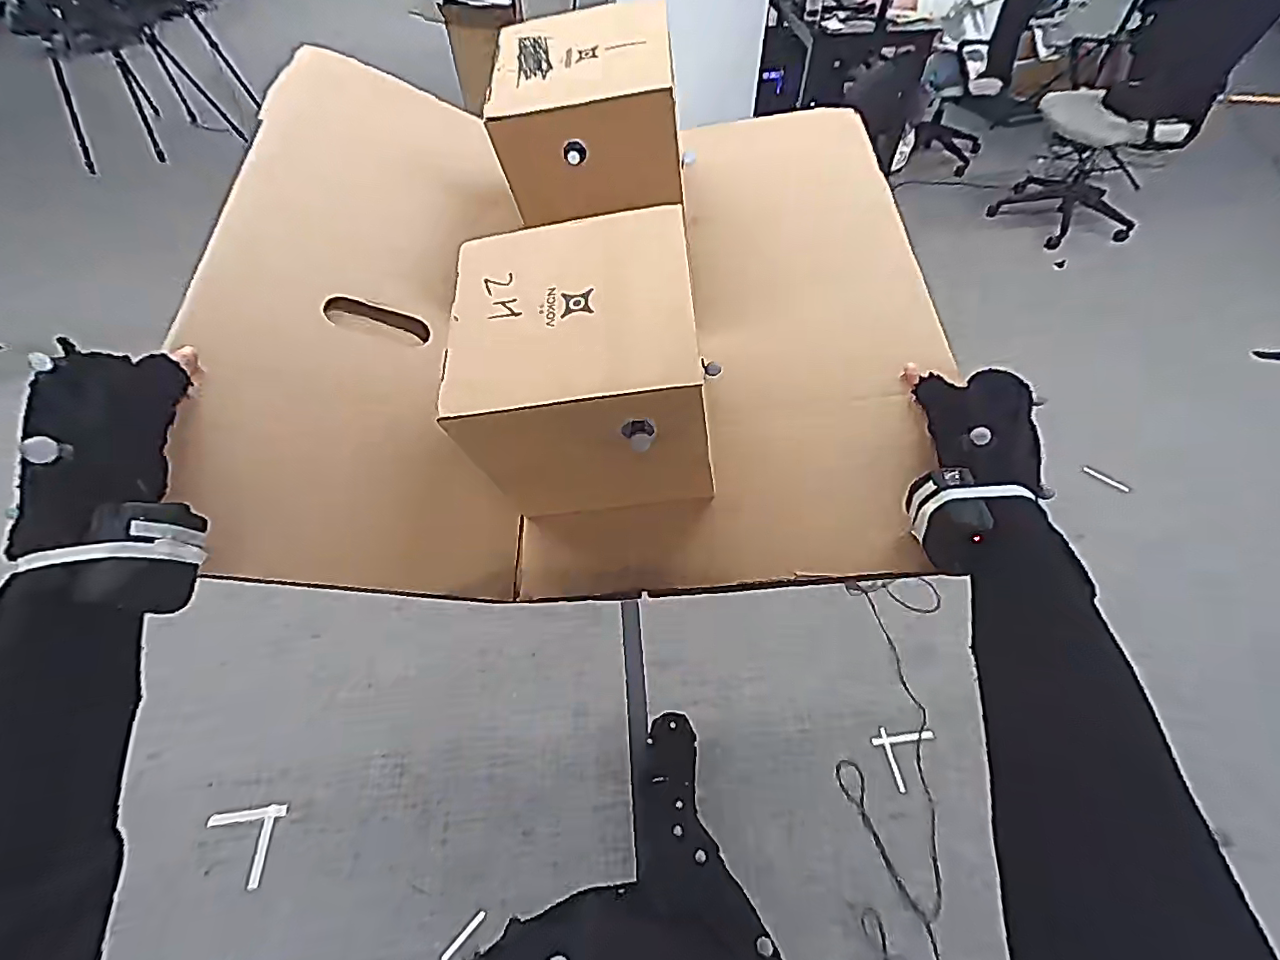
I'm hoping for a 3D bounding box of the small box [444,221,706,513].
[{"bbox_3d":[-0.037,-0.082,0.460,0.179,0.176,0.168,-6,63,9],"label":"small box"}]

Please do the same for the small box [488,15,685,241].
[{"bbox_3d":[-0.046,-0.364,0.603,0.179,0.176,0.168,-5,63,8],"label":"small box"}]
